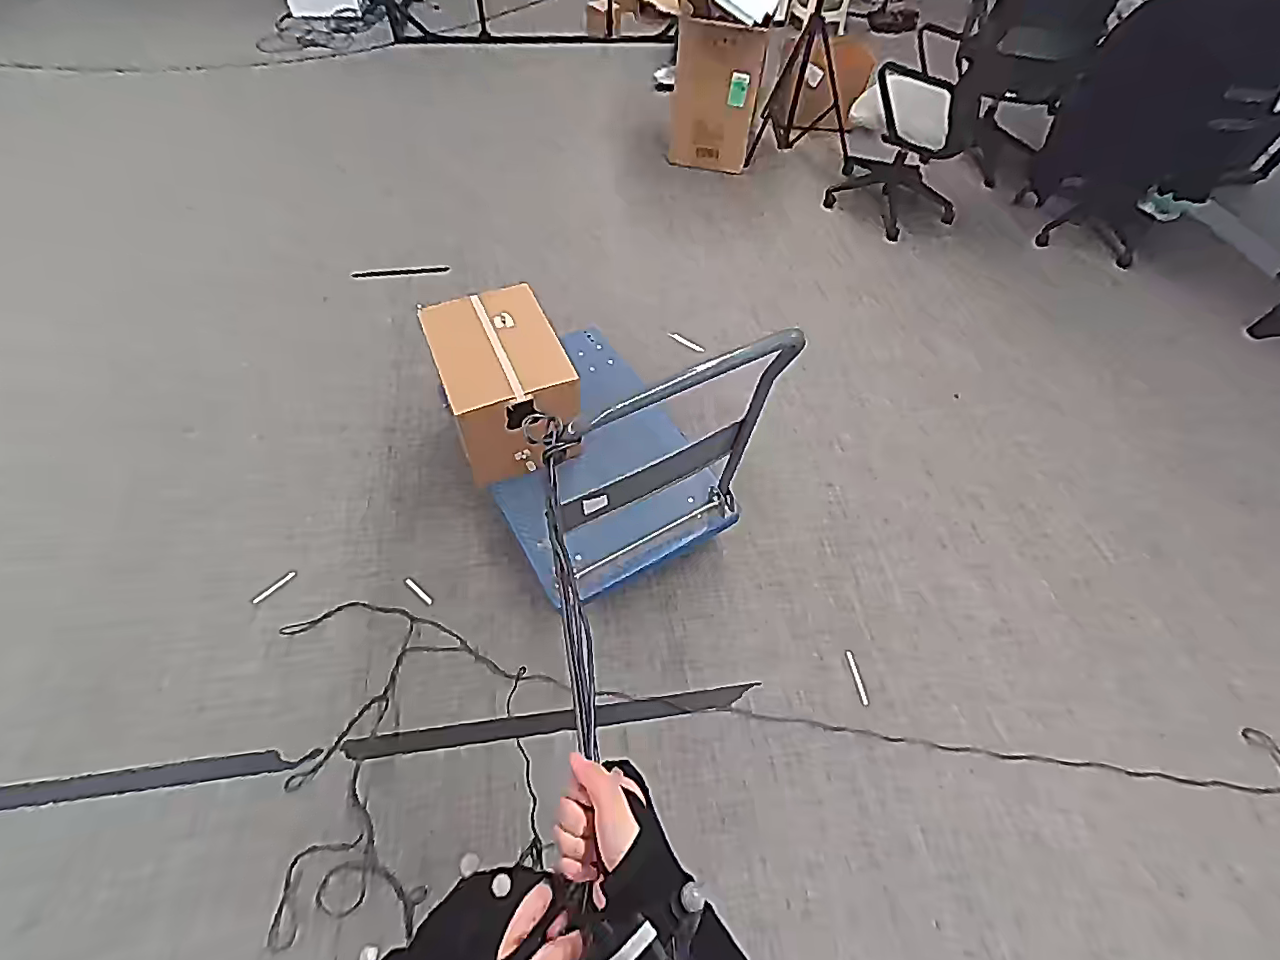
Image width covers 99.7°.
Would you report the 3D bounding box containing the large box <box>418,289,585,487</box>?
[{"bbox_3d":[-0.375,-0.256,1.507,0.320,0.320,0.408,-20,59,-17],"label":"large box"}]
